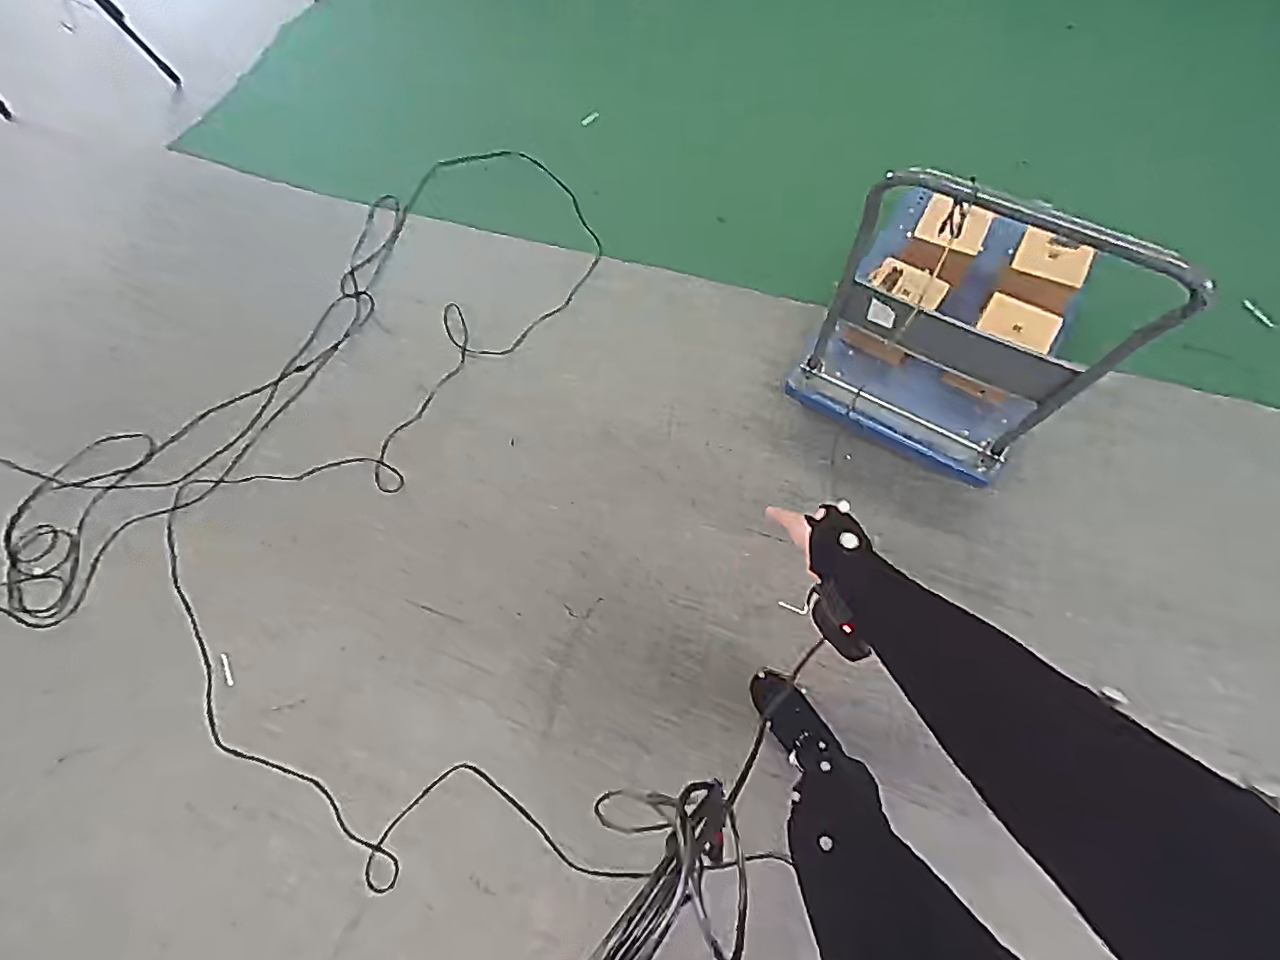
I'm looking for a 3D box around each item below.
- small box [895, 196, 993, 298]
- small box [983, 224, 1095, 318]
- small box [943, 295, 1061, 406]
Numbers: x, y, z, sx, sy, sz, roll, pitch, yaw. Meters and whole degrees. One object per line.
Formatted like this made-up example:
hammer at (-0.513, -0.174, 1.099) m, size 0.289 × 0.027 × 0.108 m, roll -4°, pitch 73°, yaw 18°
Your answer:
small box at (0.841, -0.645, 1.514) m, size 0.168 × 0.176 × 0.179 m, roll 27°, pitch 72°, yaw 15°
small box at (1.059, -0.538, 1.448) m, size 0.168 × 0.176 × 0.179 m, roll 26°, pitch 73°, yaw 16°
small box at (0.909, -0.324, 1.374) m, size 0.168 × 0.176 × 0.179 m, roll 31°, pitch 73°, yaw 17°
